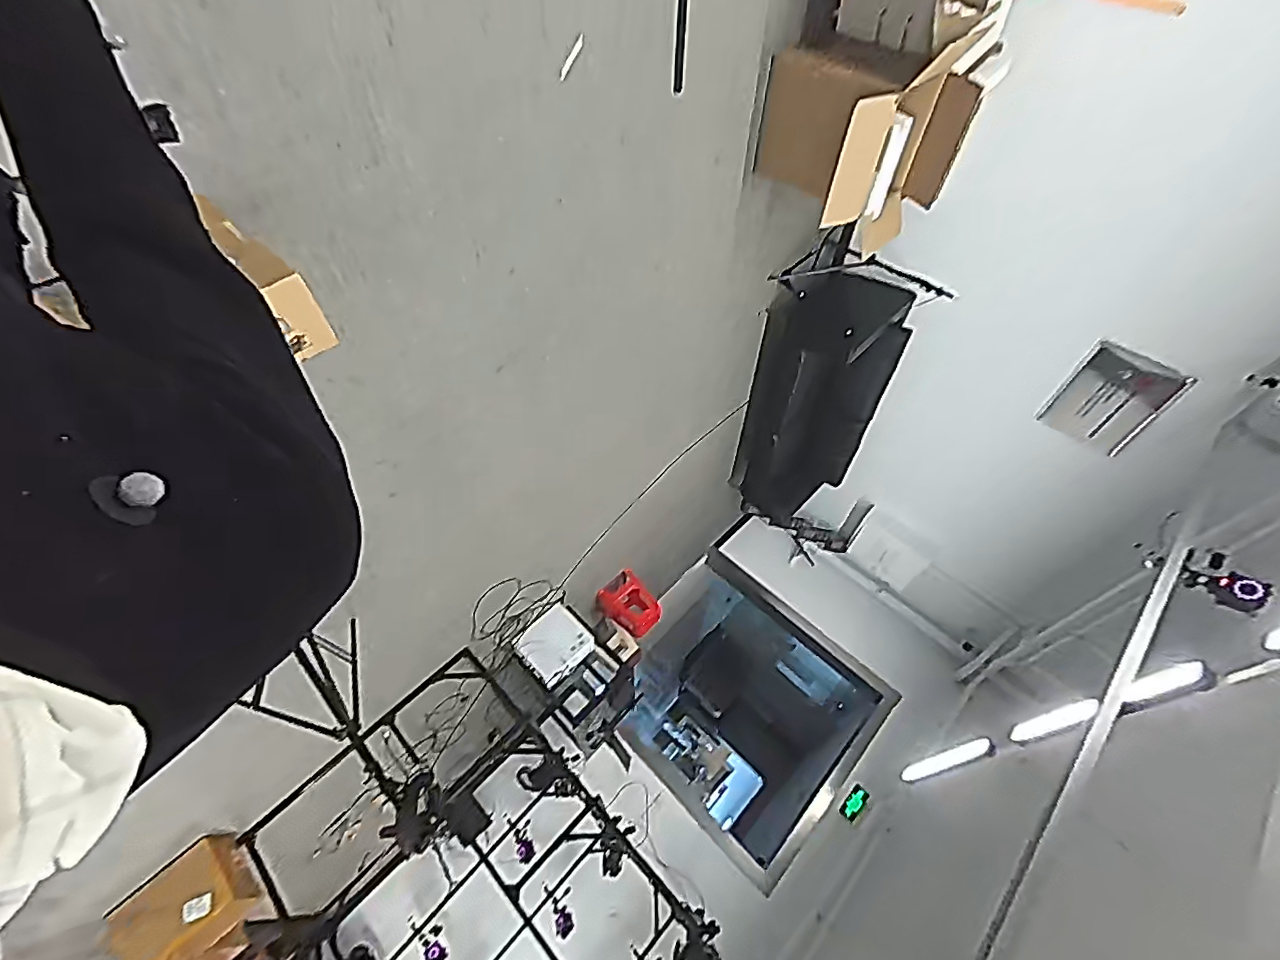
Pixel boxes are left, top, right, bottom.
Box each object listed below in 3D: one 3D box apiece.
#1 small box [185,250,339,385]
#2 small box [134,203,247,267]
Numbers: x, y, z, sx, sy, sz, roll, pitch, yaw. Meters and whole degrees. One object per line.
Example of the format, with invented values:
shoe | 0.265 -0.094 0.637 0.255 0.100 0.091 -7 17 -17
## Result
small box | -0.770 -0.336 1.112 0.168 0.176 0.179 -42 153 -25
small box | -1.008 -0.506 1.260 0.168 0.176 0.179 -42 154 -22
